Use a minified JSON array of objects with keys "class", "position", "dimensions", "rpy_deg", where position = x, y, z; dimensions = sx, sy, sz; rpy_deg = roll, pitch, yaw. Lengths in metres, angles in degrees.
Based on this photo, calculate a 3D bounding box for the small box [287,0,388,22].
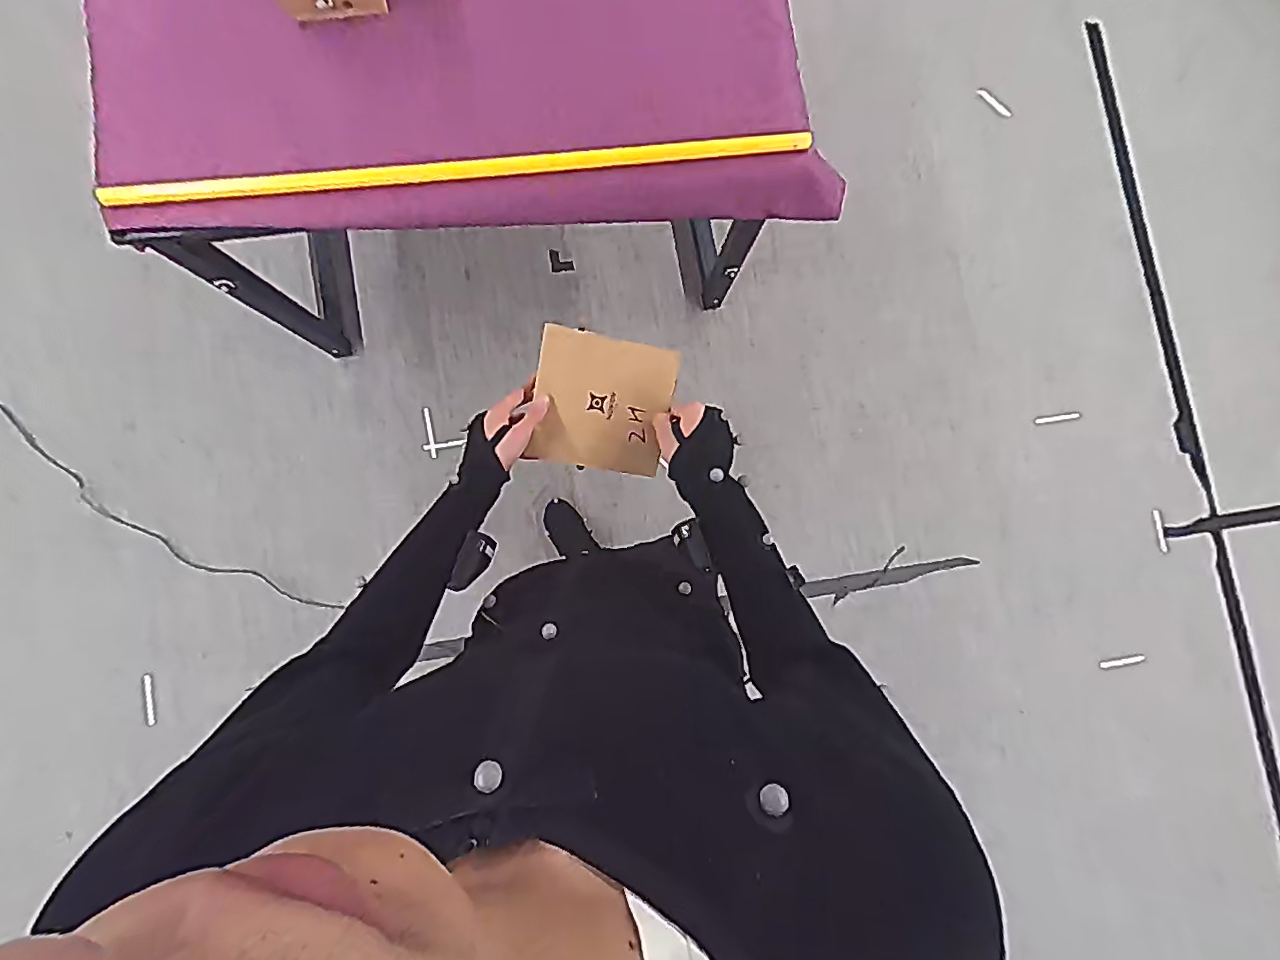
[{"class":"small box","position":[-0.530,-0.897,0.869],"dimensions":[0.168,0.176,0.179],"rpy_deg":[-11,88,-4]}]

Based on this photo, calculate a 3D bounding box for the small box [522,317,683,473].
[{"class":"small box","position":[-0.057,-0.121,0.748],"dimensions":[0.179,0.176,0.168],"rpy_deg":[10,105,-11]}]
